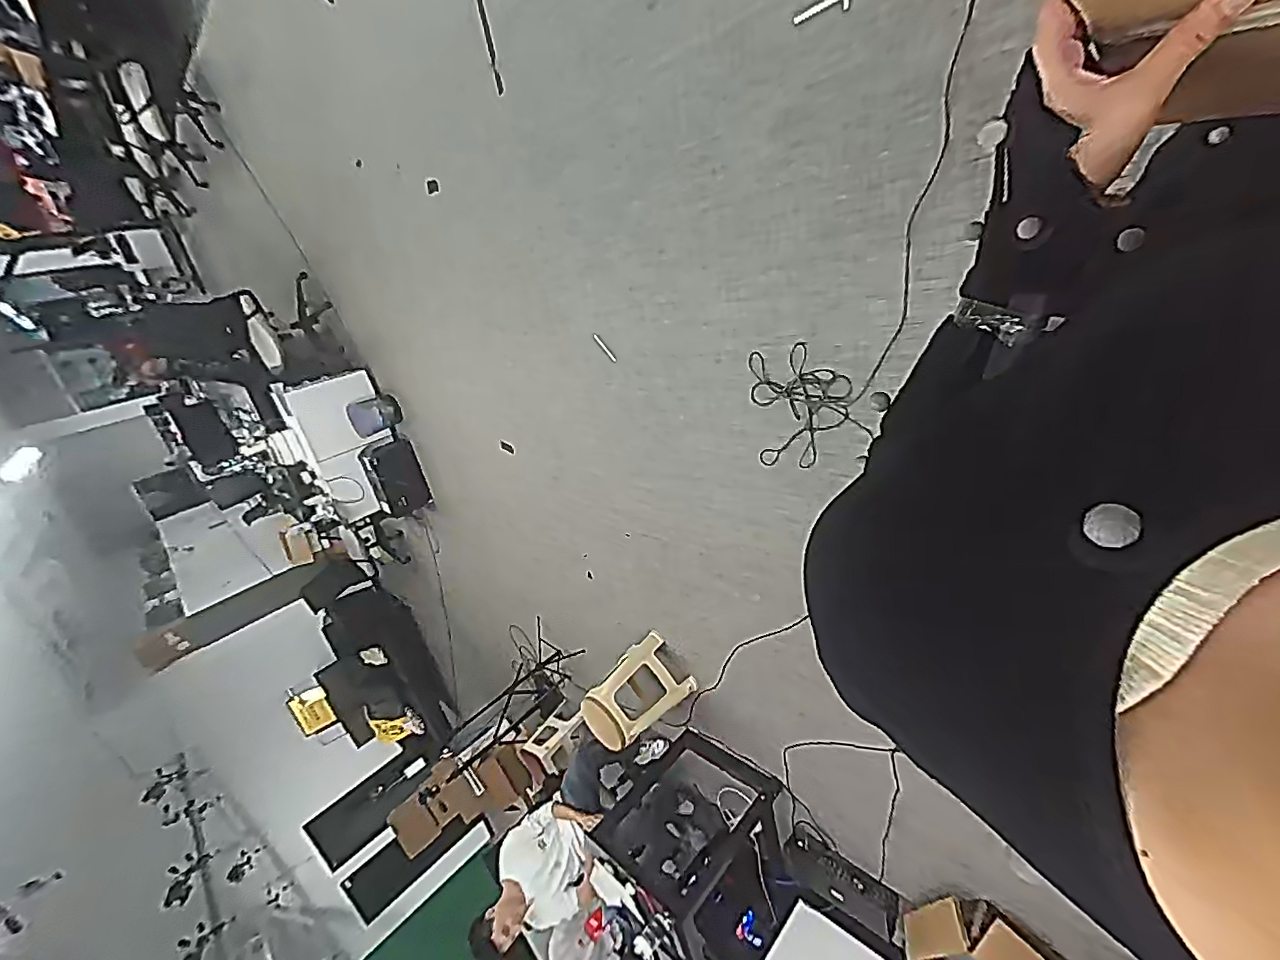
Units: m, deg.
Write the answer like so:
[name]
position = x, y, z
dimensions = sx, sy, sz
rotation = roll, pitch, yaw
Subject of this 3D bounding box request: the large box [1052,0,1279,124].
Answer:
[large box]
position = 0.397, -0.346, 0.138
dimensions = 0.408, 0.320, 0.320
rotation = 22, 114, 43
